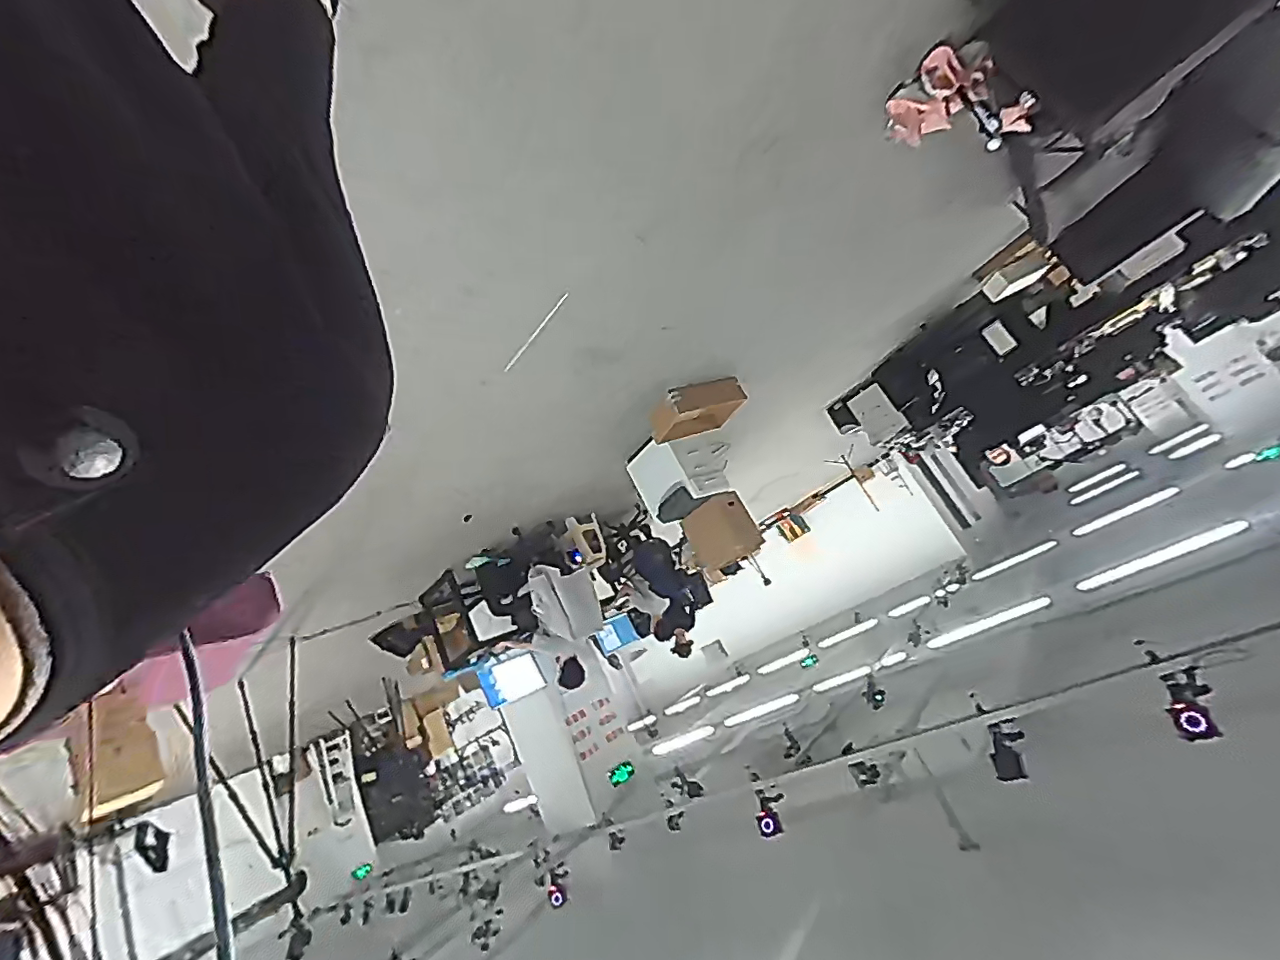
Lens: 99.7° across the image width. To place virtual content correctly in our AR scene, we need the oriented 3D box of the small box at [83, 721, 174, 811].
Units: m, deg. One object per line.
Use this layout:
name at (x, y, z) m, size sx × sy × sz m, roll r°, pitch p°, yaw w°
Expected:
small box at (-1.584, 0.878, 1.672) m, size 0.168 × 0.176 × 0.179 m, roll -38°, pitch 160°, yaw 32°

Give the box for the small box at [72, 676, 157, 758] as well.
small box at (-1.665, 0.740, 1.710) m, size 0.179 × 0.176 × 0.168 m, roll -38°, pitch 161°, yaw 33°
